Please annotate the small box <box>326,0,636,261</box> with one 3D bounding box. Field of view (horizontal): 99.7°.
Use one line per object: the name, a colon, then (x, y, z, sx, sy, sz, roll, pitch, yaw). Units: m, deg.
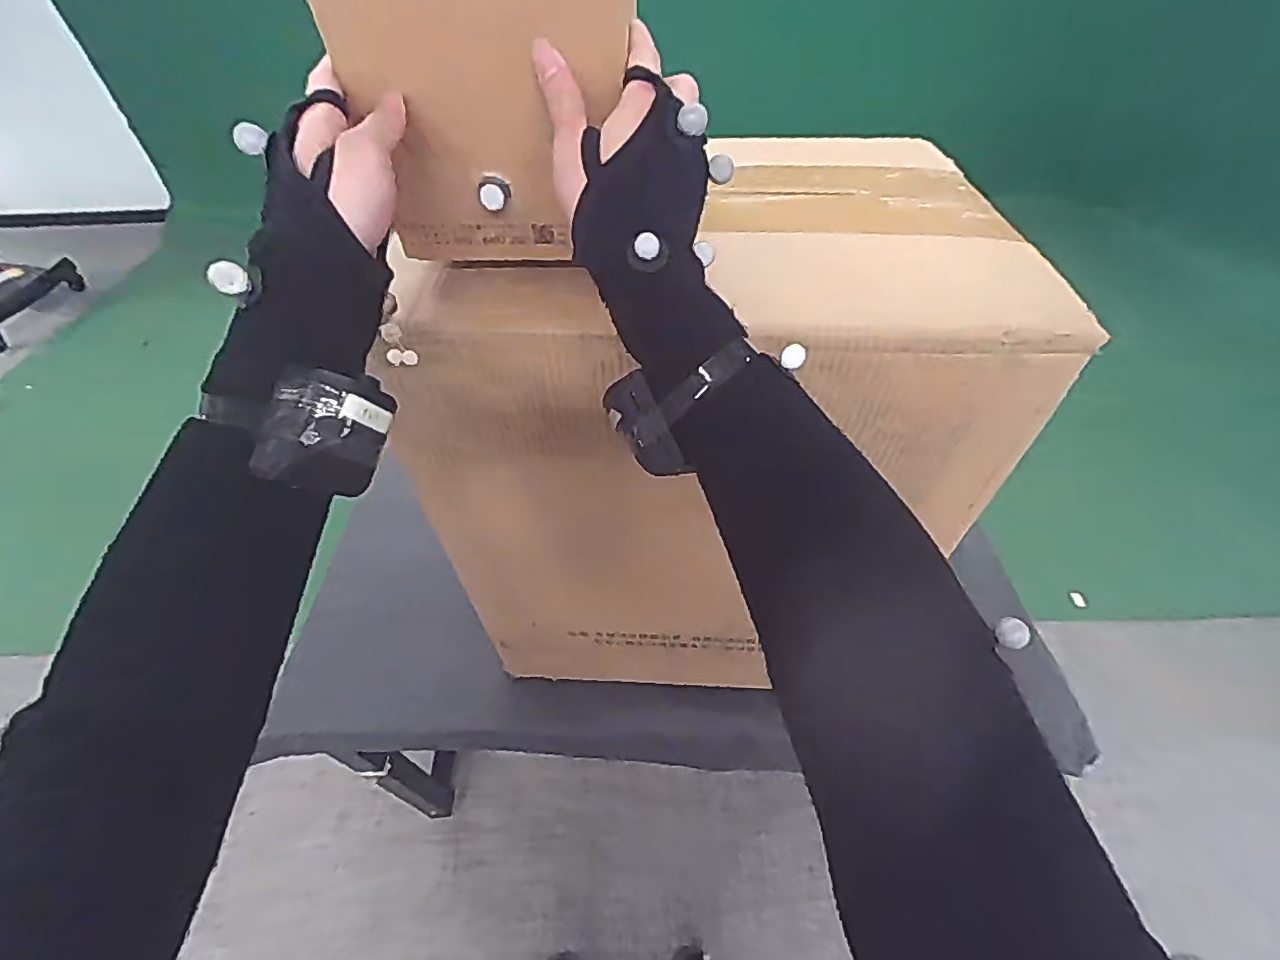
small box: (-0.088, -0.281, 0.383, 0.168, 0.176, 0.179, 1, 55, 1)
